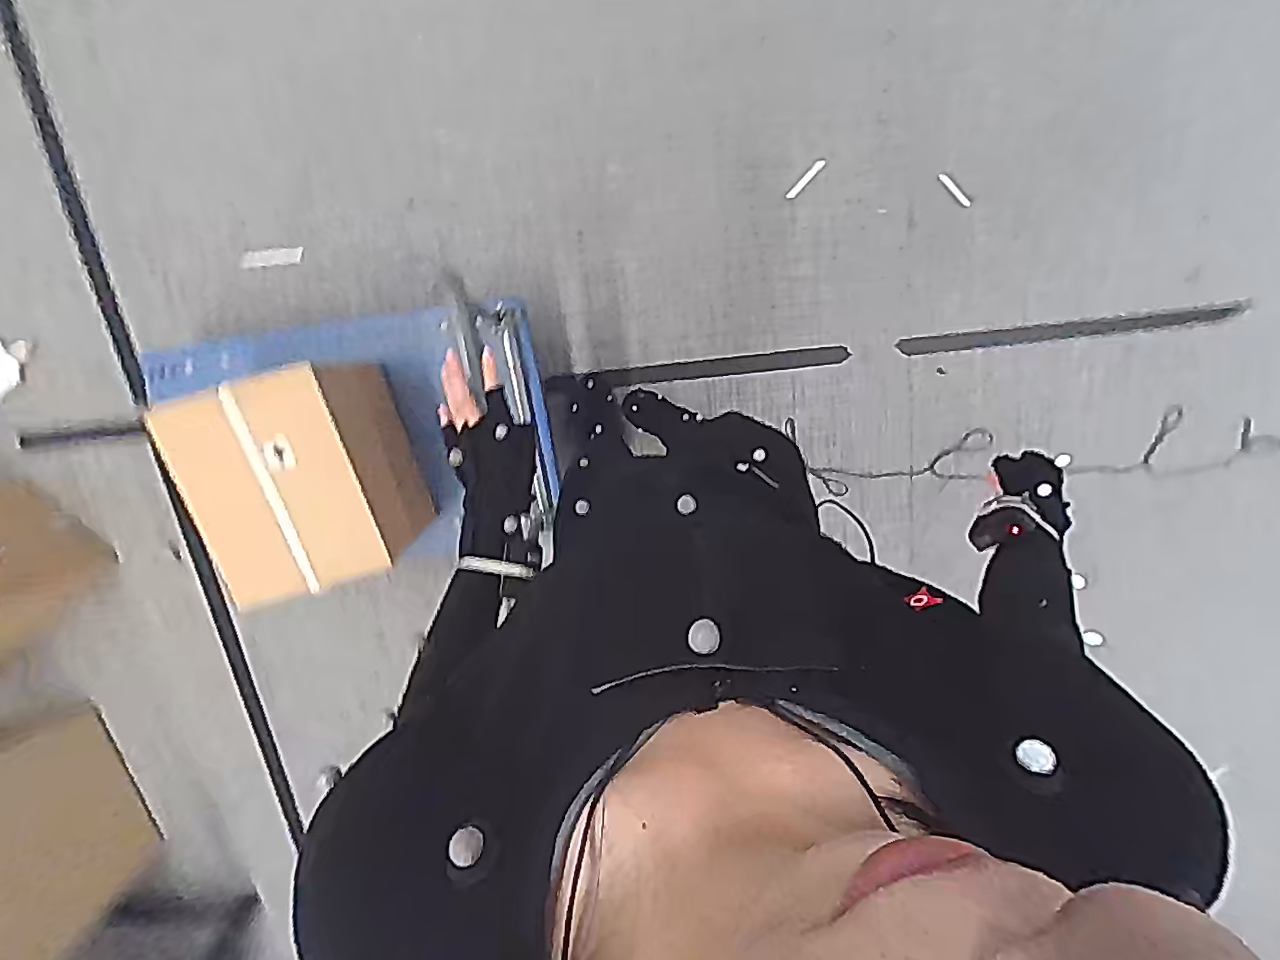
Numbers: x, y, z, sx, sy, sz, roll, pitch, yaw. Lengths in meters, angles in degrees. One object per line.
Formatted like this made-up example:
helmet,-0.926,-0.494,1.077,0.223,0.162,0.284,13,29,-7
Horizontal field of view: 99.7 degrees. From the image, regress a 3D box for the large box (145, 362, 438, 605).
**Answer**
large box,-0.688,-0.013,1.148,0.320,0.320,0.408,-17,103,-1
